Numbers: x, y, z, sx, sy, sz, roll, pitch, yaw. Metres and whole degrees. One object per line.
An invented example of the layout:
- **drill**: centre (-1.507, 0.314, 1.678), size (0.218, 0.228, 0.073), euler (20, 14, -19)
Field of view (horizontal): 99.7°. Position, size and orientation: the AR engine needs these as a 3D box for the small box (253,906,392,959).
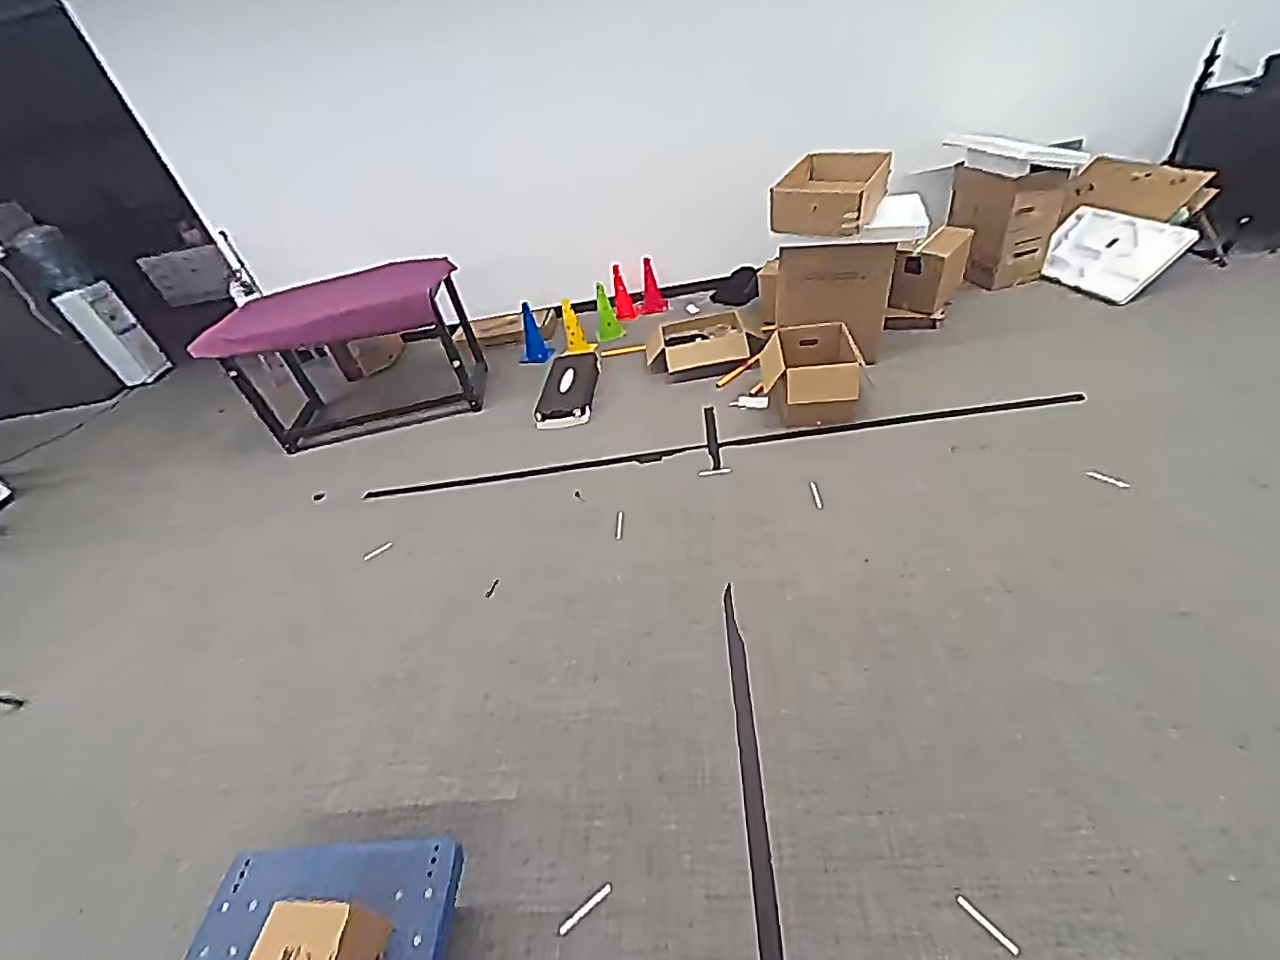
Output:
- **small box**: centre (-0.618, 0.940, 1.034), size (0.179, 0.176, 0.168), euler (-6, 40, 9)
